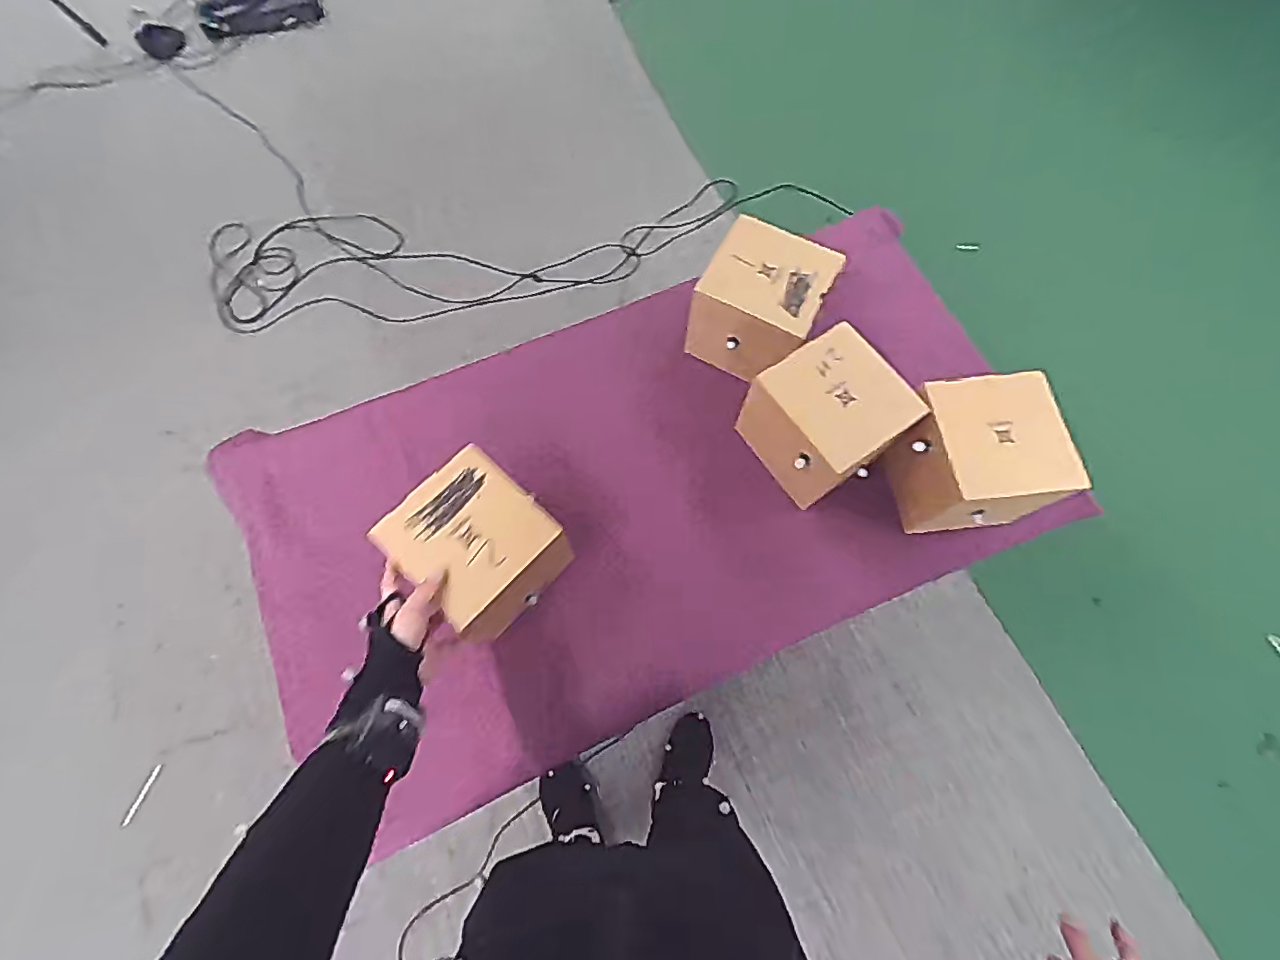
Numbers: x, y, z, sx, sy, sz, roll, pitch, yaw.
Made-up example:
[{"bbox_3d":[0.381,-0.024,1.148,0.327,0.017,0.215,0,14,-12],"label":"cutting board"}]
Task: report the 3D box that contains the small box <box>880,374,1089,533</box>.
[{"bbox_3d":[0.474,-0.028,0.777,0.168,0.176,0.179,-6,68,-2],"label":"small box"}]
